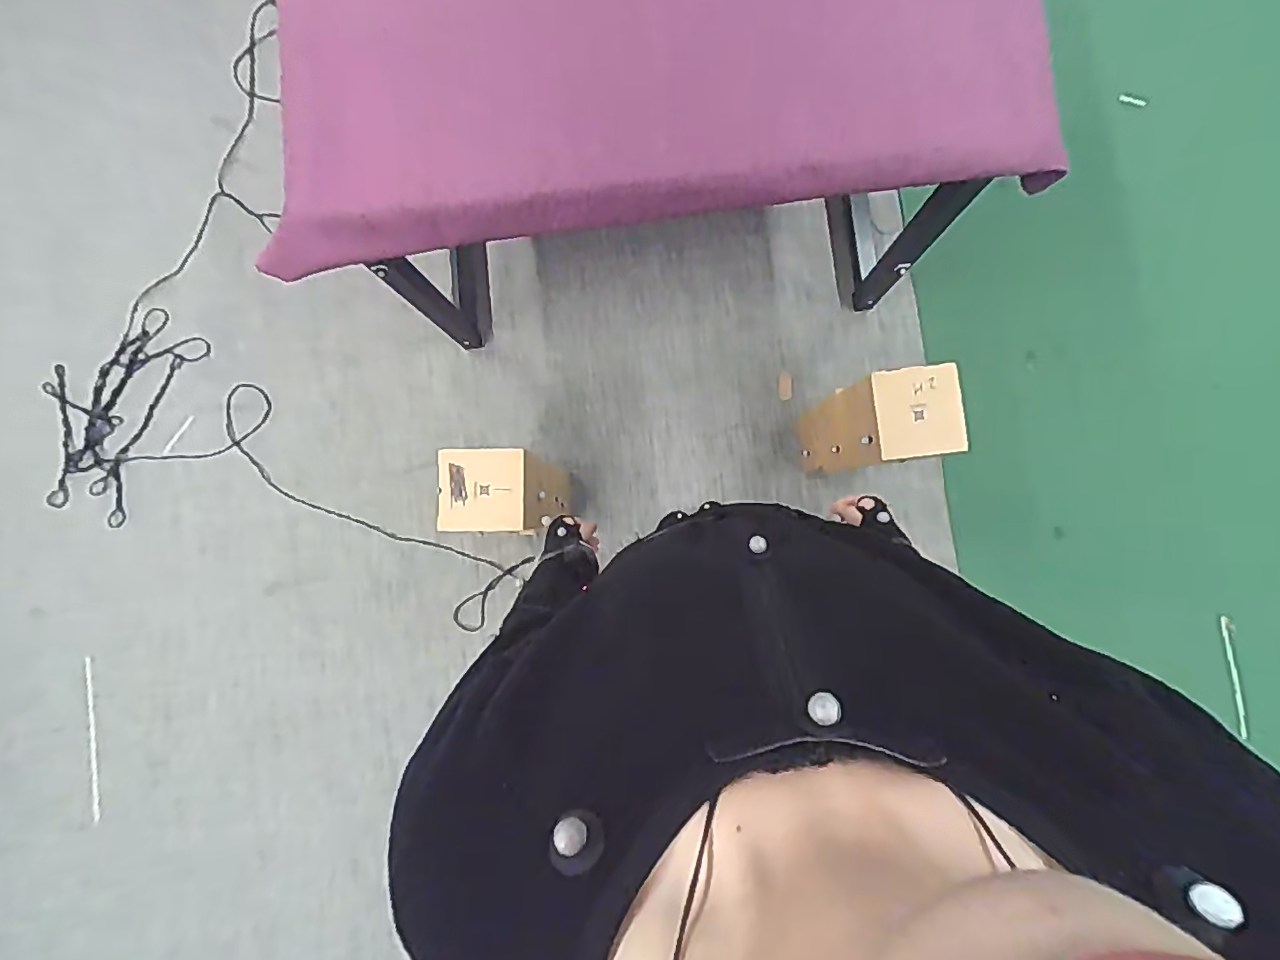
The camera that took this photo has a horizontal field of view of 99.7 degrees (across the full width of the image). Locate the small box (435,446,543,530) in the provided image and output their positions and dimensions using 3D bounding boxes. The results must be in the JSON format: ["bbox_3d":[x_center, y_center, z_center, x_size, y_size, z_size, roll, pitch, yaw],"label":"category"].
[{"bbox_3d":[-0.311,0.022,1.138,0.179,0.176,0.168,0,86,2],"label":"small box"}]

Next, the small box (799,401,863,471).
[{"bbox_3d":[0.528,-0.118,1.437,0.179,0.176,0.168,-5,86,2],"label":"small box"}]

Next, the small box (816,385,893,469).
[{"bbox_3d":[0.526,-0.127,1.276,0.168,0.176,0.179,-7,87,2],"label":"small box"}]

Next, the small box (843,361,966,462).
[{"bbox_3d":[0.533,-0.131,1.110,0.168,0.176,0.179,-6,86,1],"label":"small box"}]

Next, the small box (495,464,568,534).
[{"bbox_3d":[-0.290,0.052,1.466,0.168,0.176,0.179,-2,86,3],"label":"small box"}]
